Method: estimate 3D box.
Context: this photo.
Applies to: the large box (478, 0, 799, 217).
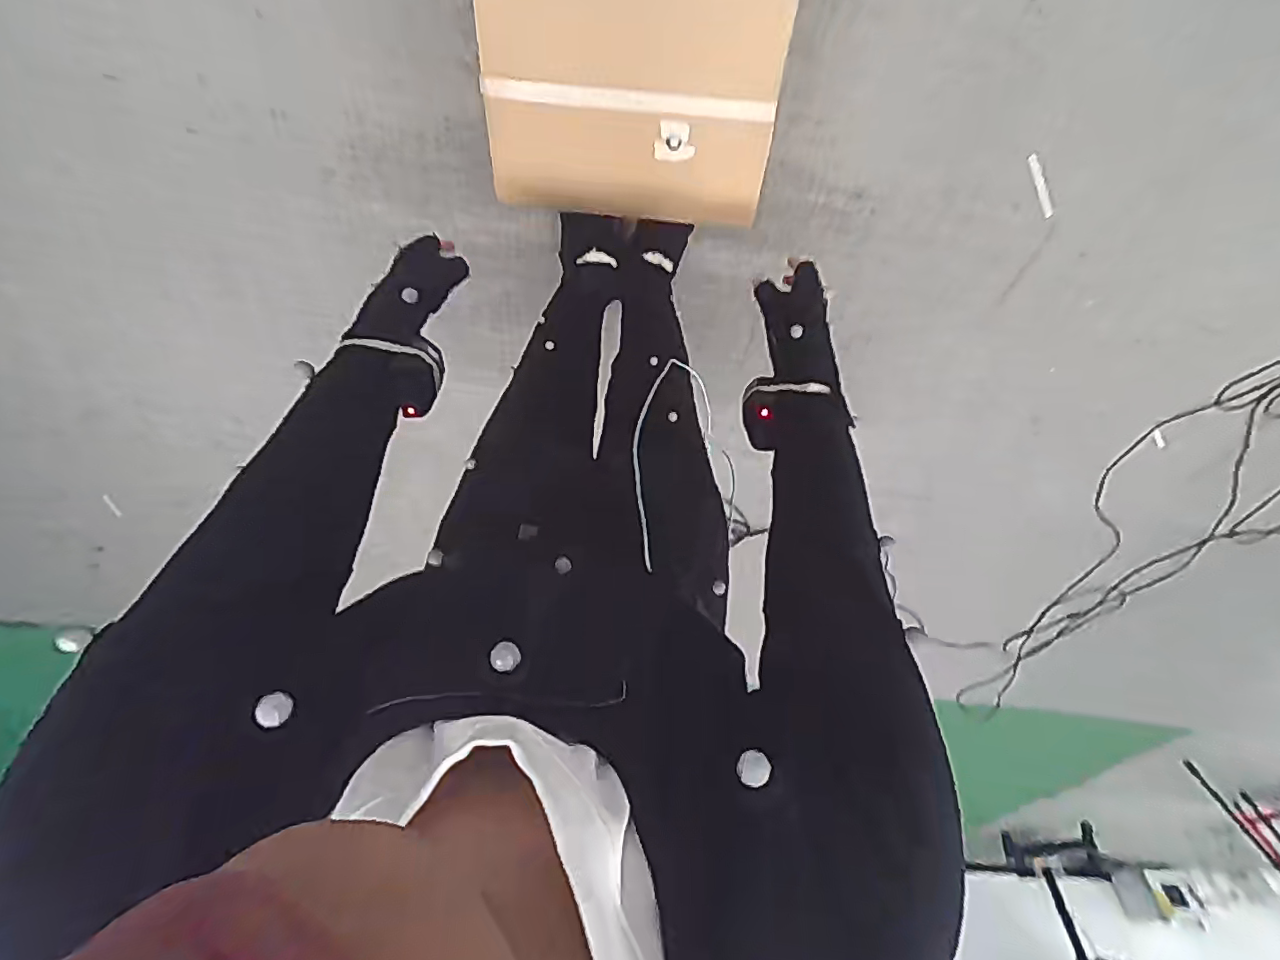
[{"bbox_3d":[-0.004,-0.634,0.838,0.408,0.320,0.320,4,135,-1],"label":"large box"}]
